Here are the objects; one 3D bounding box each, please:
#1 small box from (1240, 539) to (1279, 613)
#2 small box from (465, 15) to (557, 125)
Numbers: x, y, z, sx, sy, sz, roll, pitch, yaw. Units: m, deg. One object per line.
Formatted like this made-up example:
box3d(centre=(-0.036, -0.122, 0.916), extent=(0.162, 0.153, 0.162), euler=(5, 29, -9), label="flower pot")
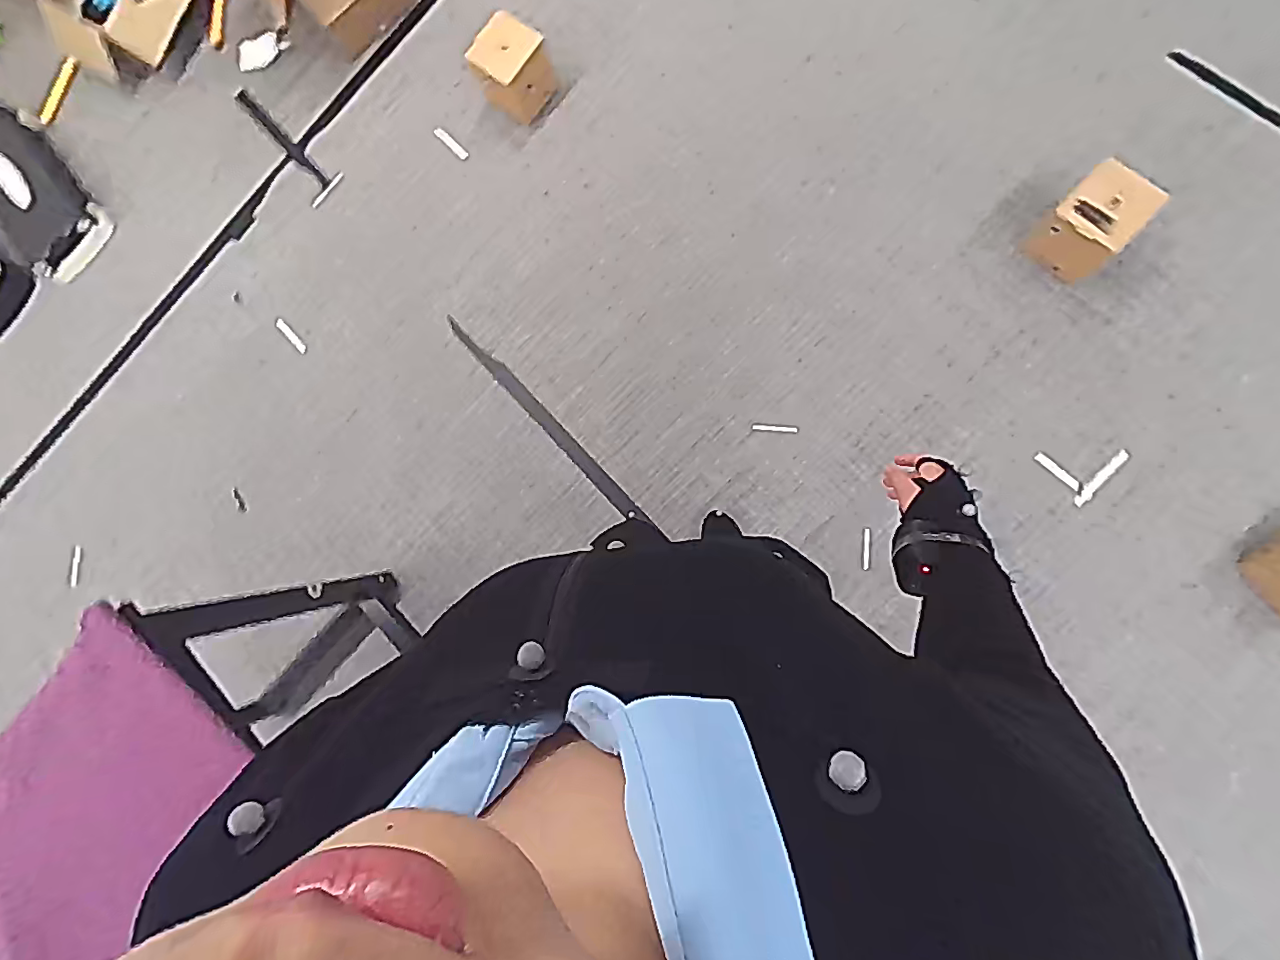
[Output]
box3d(centre=(1.510, 0.214, 1.181), extent=(0.168, 0.176, 0.179), euler=(-36, 81, 6), label="small box")
box3d(centre=(-0.374, -1.204, 1.605), extent=(0.179, 0.176, 0.168), euler=(38, 92, 11), label="small box")
